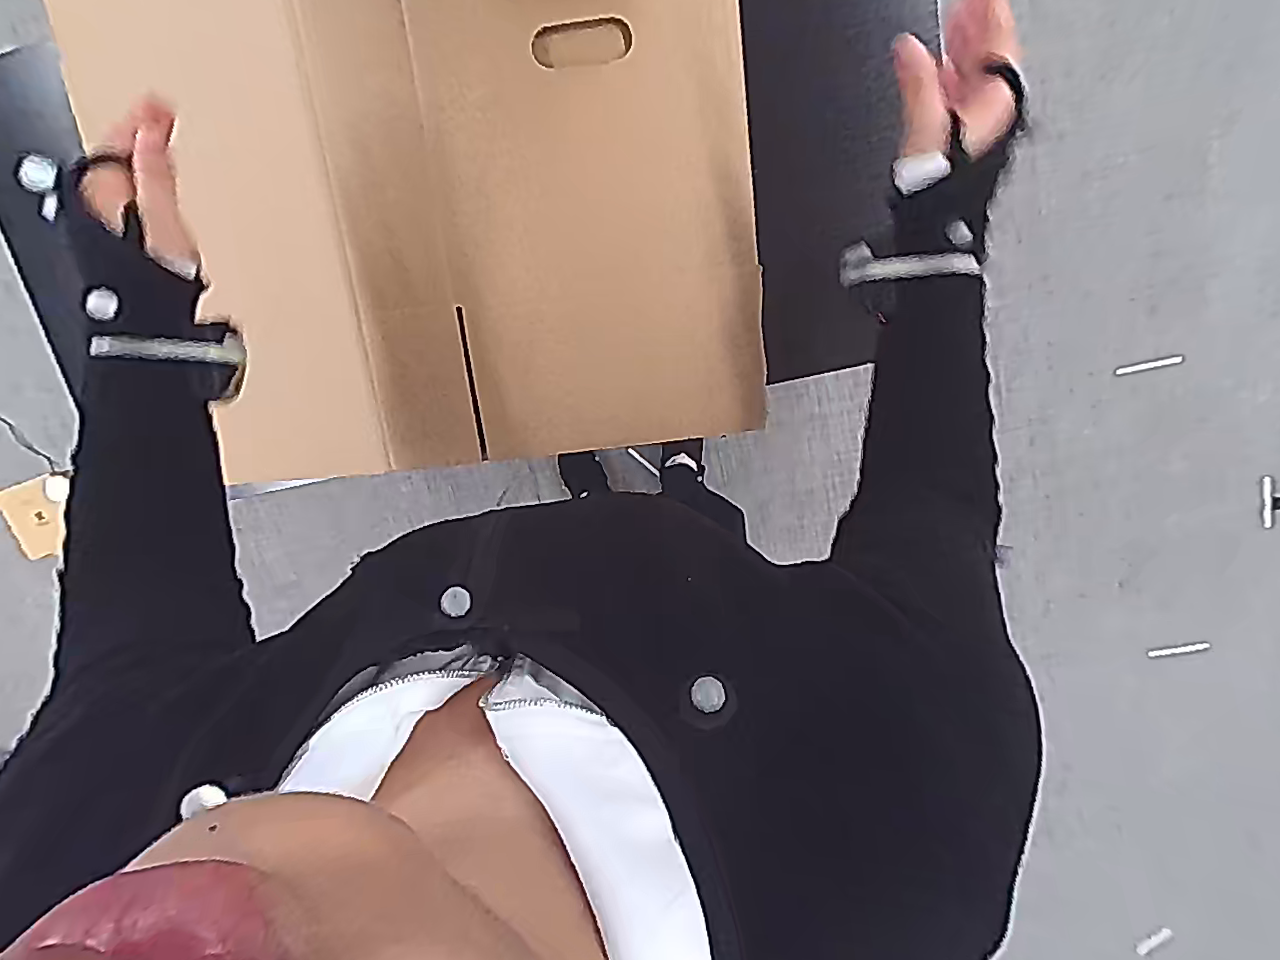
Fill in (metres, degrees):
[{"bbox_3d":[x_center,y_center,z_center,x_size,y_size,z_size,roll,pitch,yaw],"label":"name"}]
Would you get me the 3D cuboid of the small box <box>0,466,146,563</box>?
[{"bbox_3d":[-1.394,0.079,1.336,0.168,0.176,0.179,-19,99,6],"label":"small box"}]
